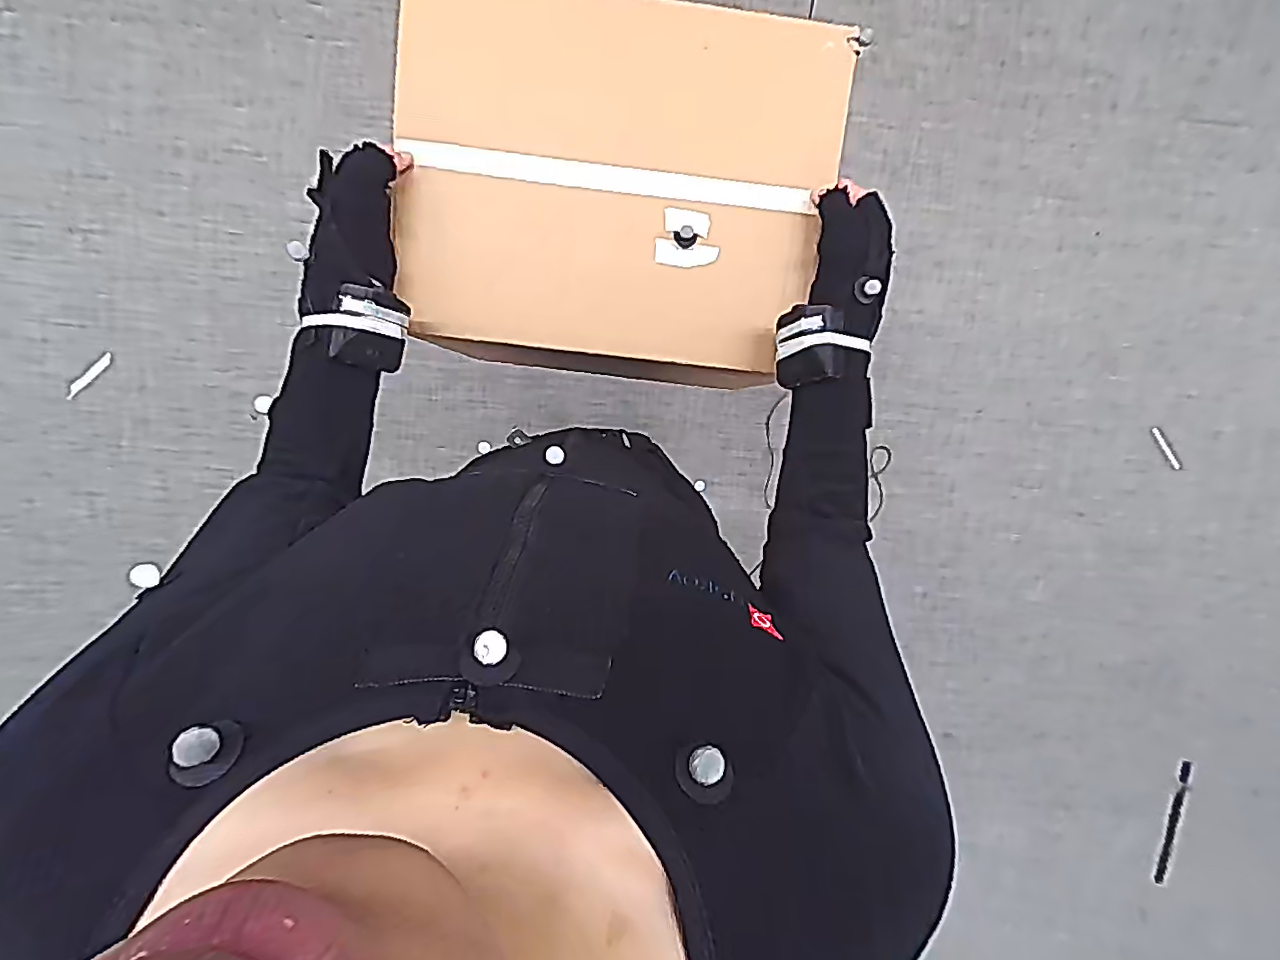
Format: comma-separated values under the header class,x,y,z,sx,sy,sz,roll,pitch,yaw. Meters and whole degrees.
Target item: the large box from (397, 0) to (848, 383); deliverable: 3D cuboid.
class,x,y,z,sx,sy,sz,roll,pitch,yaw
large box,-0.027,-0.297,0.647,0.408,0.320,0.320,6,97,-4
